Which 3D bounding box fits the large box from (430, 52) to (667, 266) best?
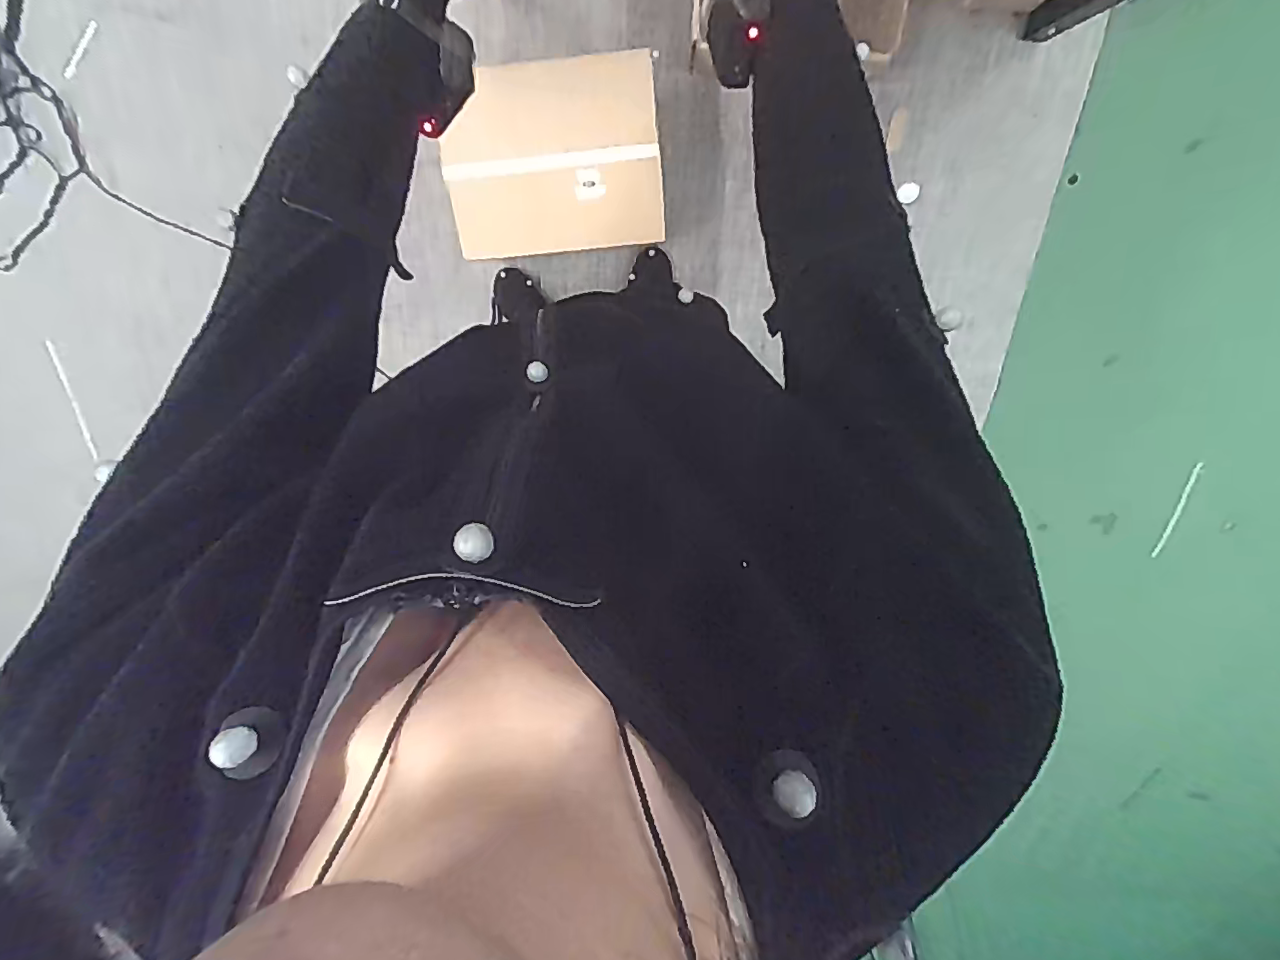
[{"bbox_3d":[-0.163,-0.636,1.137,0.408,0.320,0.320,-5,112,1],"label":"large box"}]
